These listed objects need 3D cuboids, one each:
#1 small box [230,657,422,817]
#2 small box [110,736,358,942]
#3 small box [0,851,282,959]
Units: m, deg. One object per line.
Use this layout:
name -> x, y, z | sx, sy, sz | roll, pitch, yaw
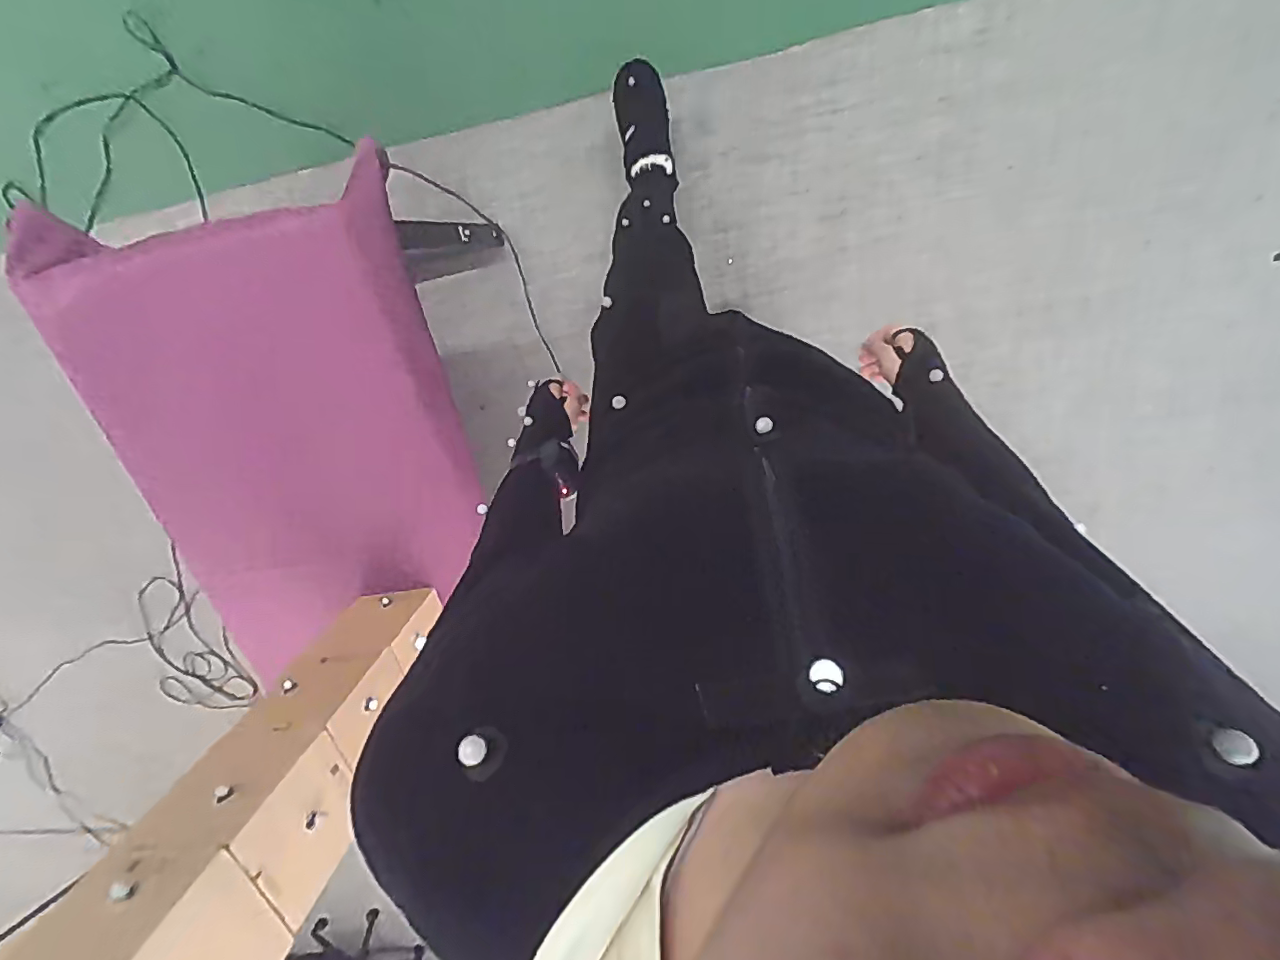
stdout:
small box -> -0.479, 0.398, 0.856 | 0.168, 0.176, 0.179 | -8, 112, 11
small box -> -0.505, 0.462, 0.708 | 0.179, 0.176, 0.168 | -10, 110, 11
small box -> -0.522, 0.523, 0.556 | 0.168, 0.176, 0.179 | -10, 110, 12
